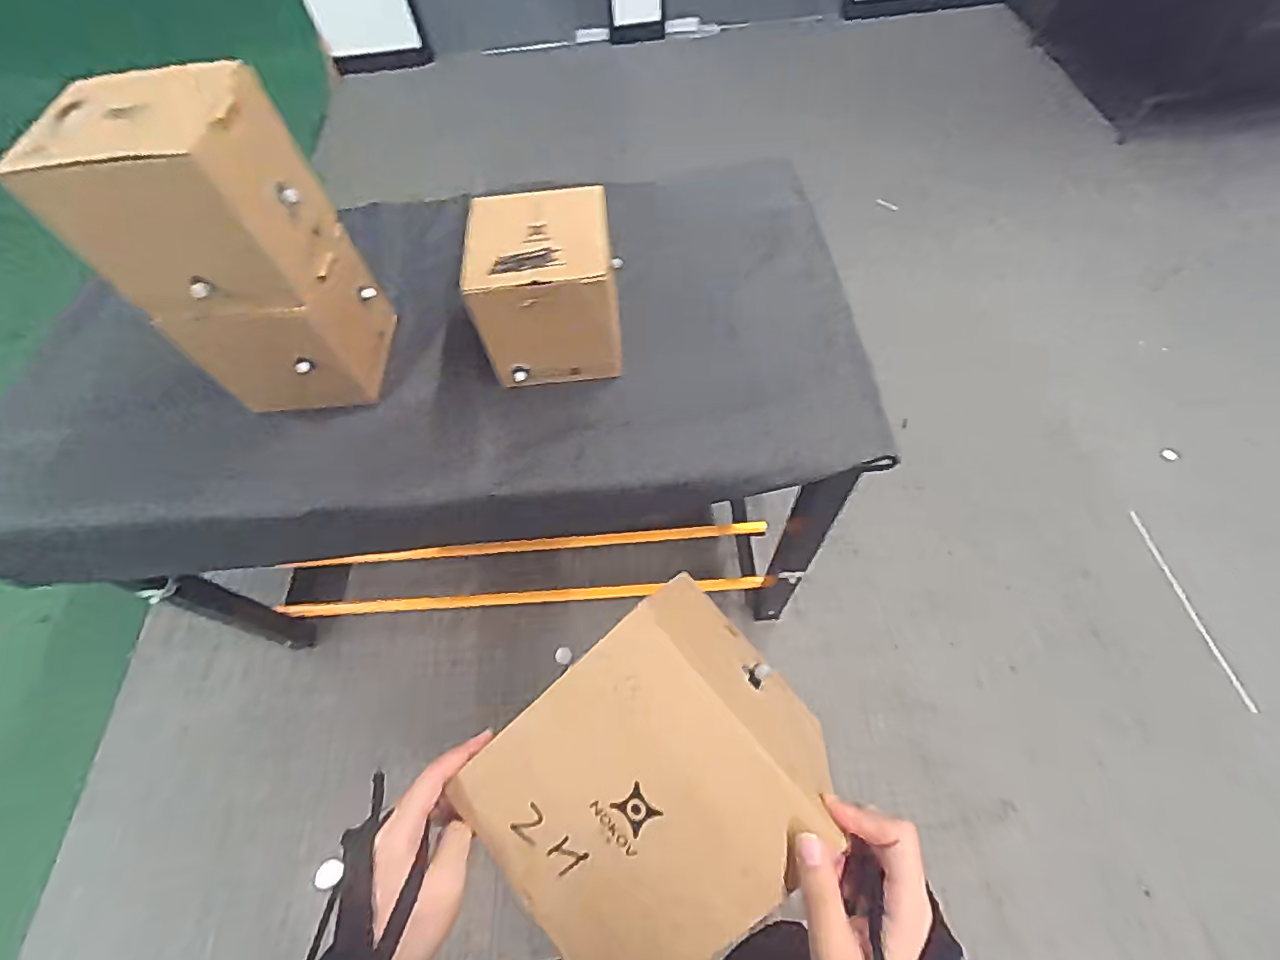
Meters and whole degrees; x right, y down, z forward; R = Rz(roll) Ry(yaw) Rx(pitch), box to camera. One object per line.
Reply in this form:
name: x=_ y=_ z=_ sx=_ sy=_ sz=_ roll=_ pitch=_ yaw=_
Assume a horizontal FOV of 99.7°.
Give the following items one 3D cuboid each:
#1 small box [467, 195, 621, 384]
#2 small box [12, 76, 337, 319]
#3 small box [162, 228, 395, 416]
small box: x=-0.116 y=-0.242 z=0.718 sx=0.168 sy=0.176 sz=0.179 roll=-5 pitch=58 yaw=0
small box: x=-0.461 y=-0.293 z=0.577 sx=0.179 sy=0.176 sz=0.168 roll=-5 pitch=58 yaw=0
small box: x=-0.451 y=-0.202 z=0.714 sx=0.179 sy=0.176 sz=0.168 roll=-5 pitch=58 yaw=1
